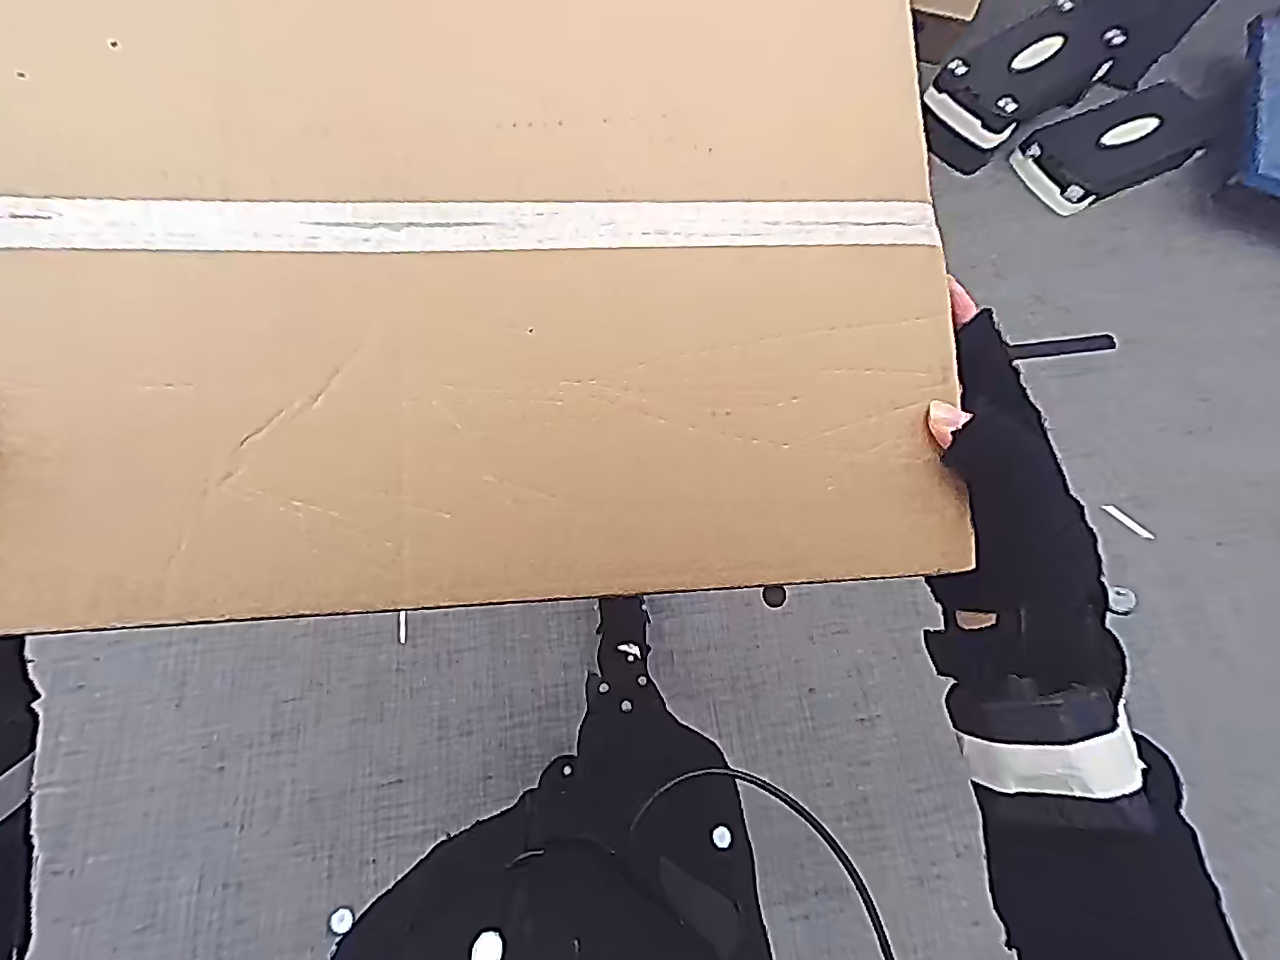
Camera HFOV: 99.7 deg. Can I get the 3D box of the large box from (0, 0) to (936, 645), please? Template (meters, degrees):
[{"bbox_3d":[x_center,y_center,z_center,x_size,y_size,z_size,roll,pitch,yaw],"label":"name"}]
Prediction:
[{"bbox_3d":[-0.081,-0.085,0.391,0.408,0.320,0.320,-3,84,-6],"label":"large box"}]
